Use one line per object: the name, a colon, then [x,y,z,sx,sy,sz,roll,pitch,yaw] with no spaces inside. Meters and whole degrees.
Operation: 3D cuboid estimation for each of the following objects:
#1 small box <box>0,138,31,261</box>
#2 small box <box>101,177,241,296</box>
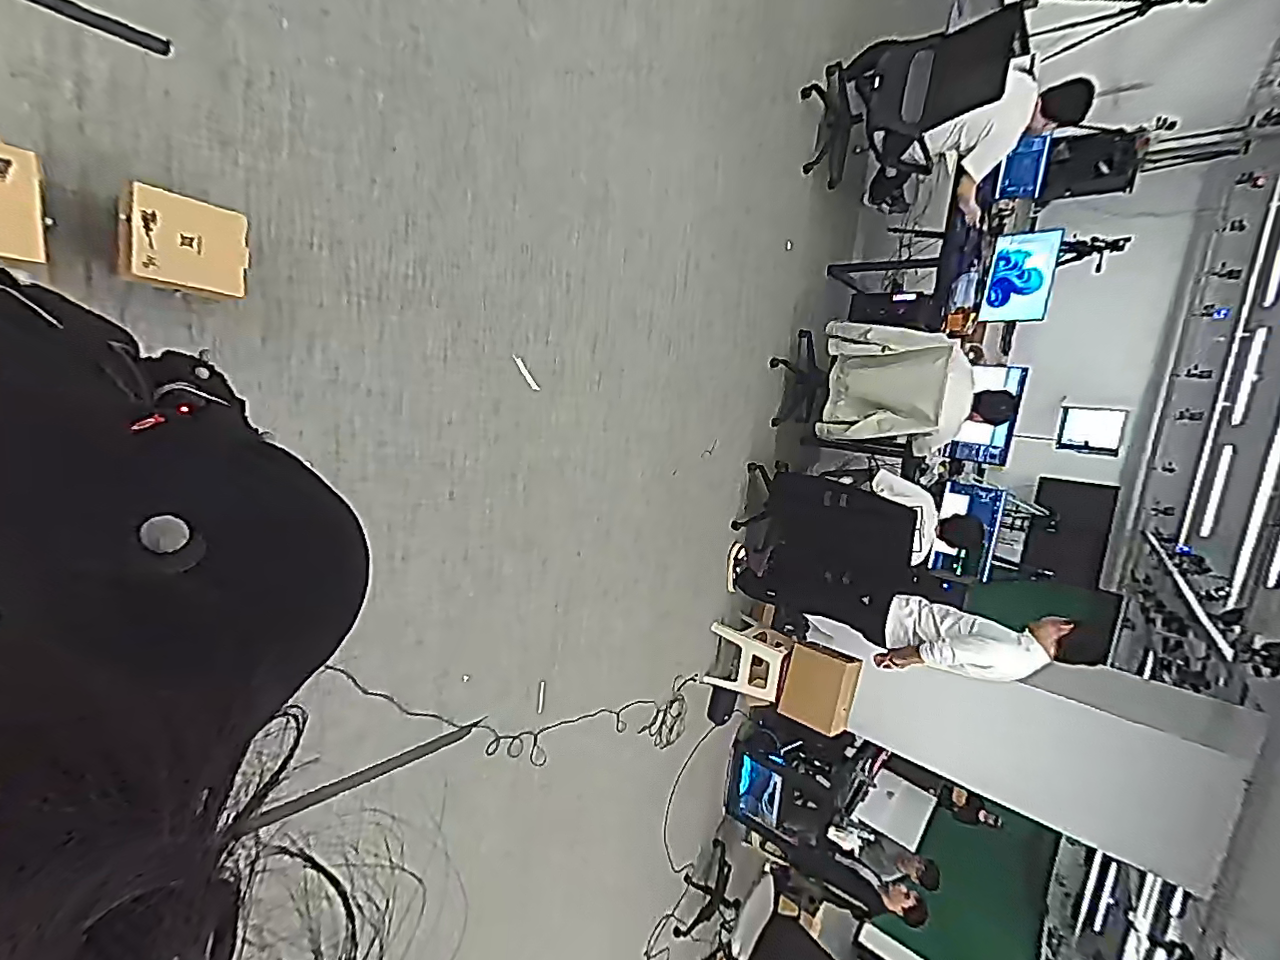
small box: [-1.108,-0.463,0.864,0.168,0.176,0.179,-5,105,-50]
small box: [-0.936,-0.475,1.080,0.179,0.176,0.168,0,101,-53]
